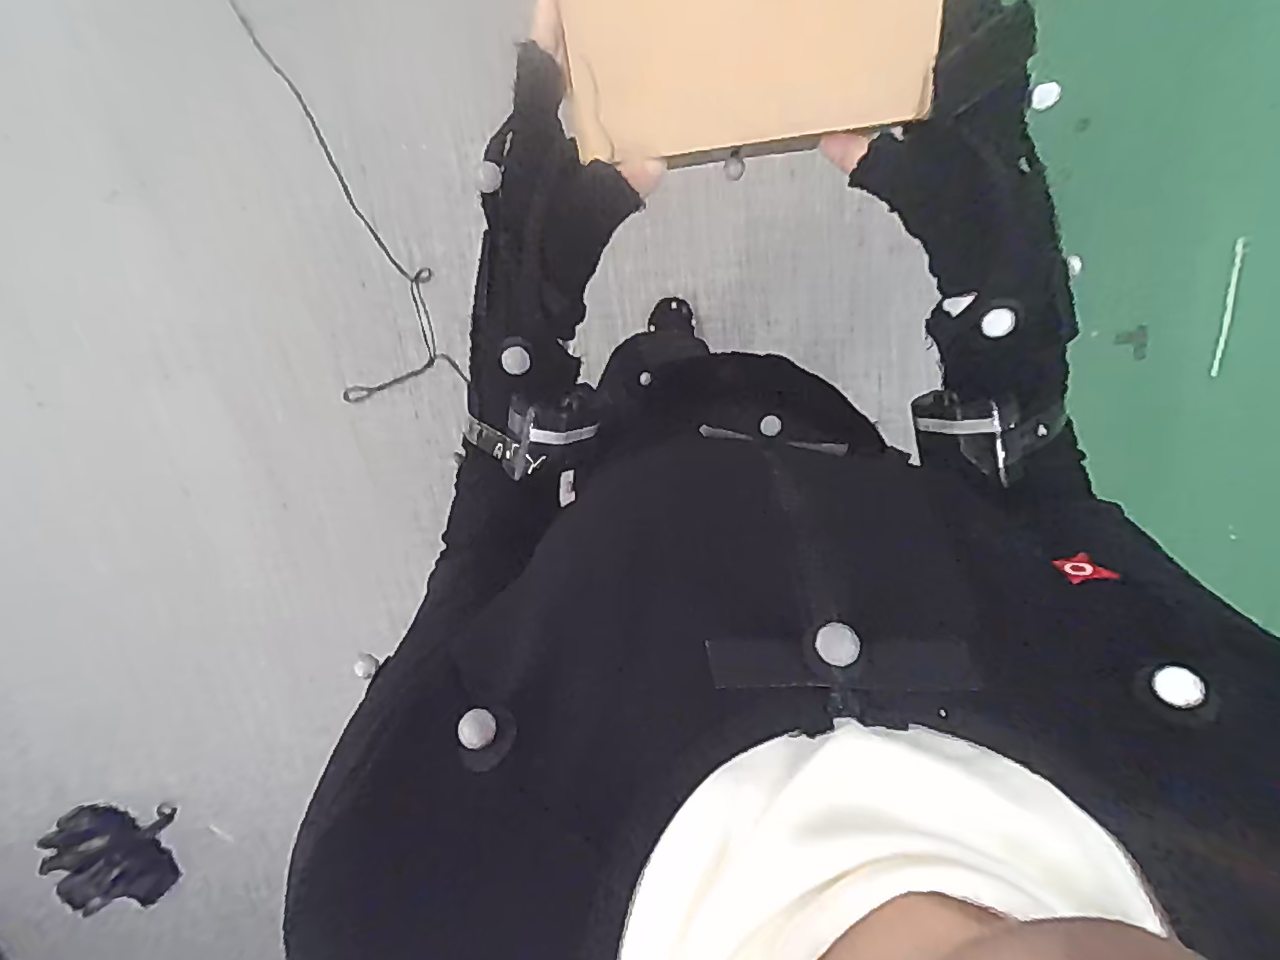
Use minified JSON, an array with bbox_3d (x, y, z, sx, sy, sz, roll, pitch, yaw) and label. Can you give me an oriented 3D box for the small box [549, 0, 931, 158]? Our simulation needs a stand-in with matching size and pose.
[{"bbox_3d":[0.045,-0.287,0.303,0.179,0.176,0.168,-5,119,5],"label":"small box"}]
